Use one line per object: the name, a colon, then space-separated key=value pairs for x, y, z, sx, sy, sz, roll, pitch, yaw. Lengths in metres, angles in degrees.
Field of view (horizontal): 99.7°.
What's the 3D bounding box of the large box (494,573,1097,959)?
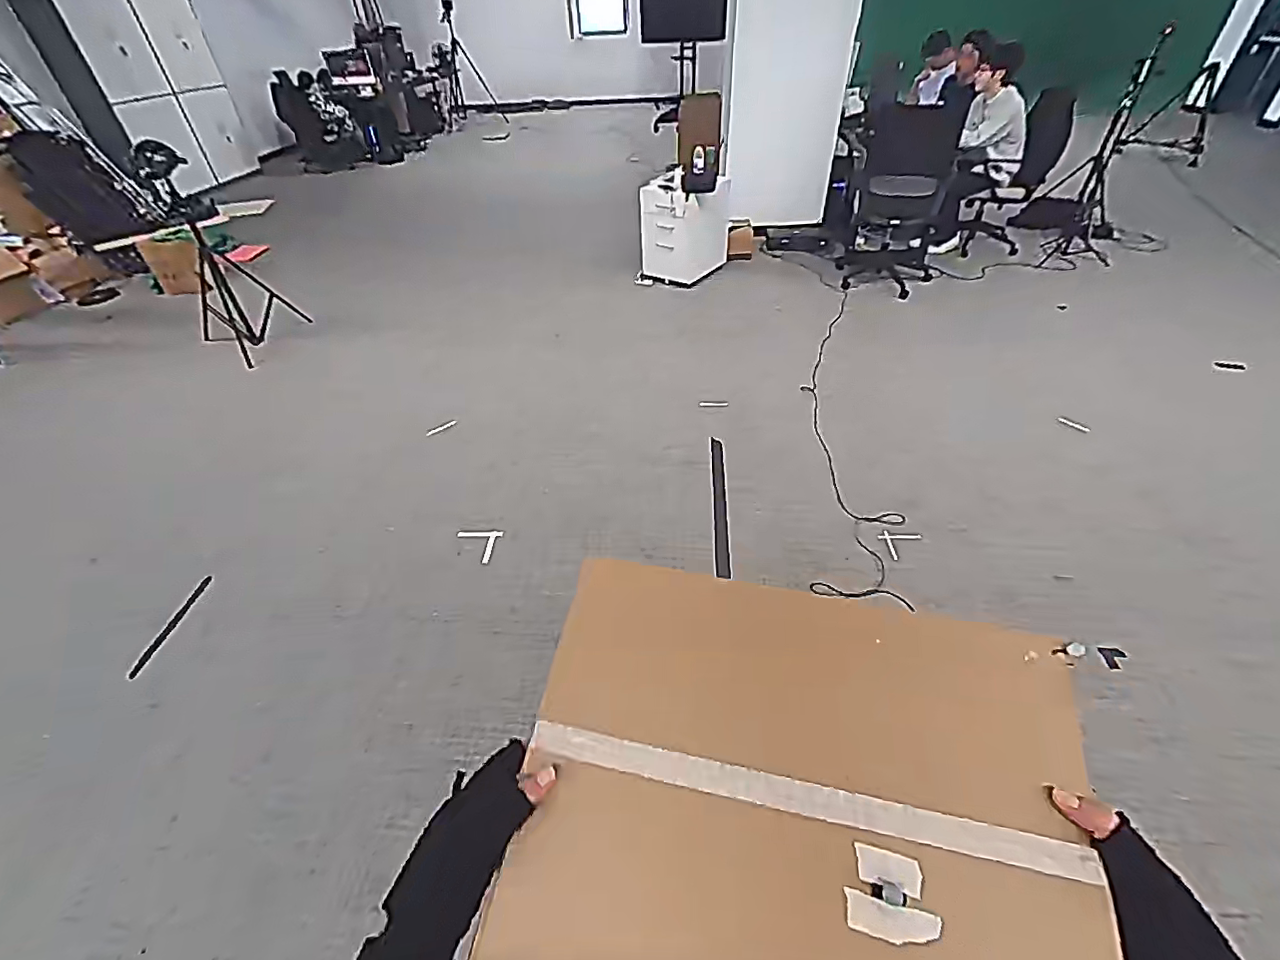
large box: x=0.127 y=0.318 z=0.541 sx=0.408 sy=0.320 sz=0.320 roll=8 pitch=61 yaw=10
